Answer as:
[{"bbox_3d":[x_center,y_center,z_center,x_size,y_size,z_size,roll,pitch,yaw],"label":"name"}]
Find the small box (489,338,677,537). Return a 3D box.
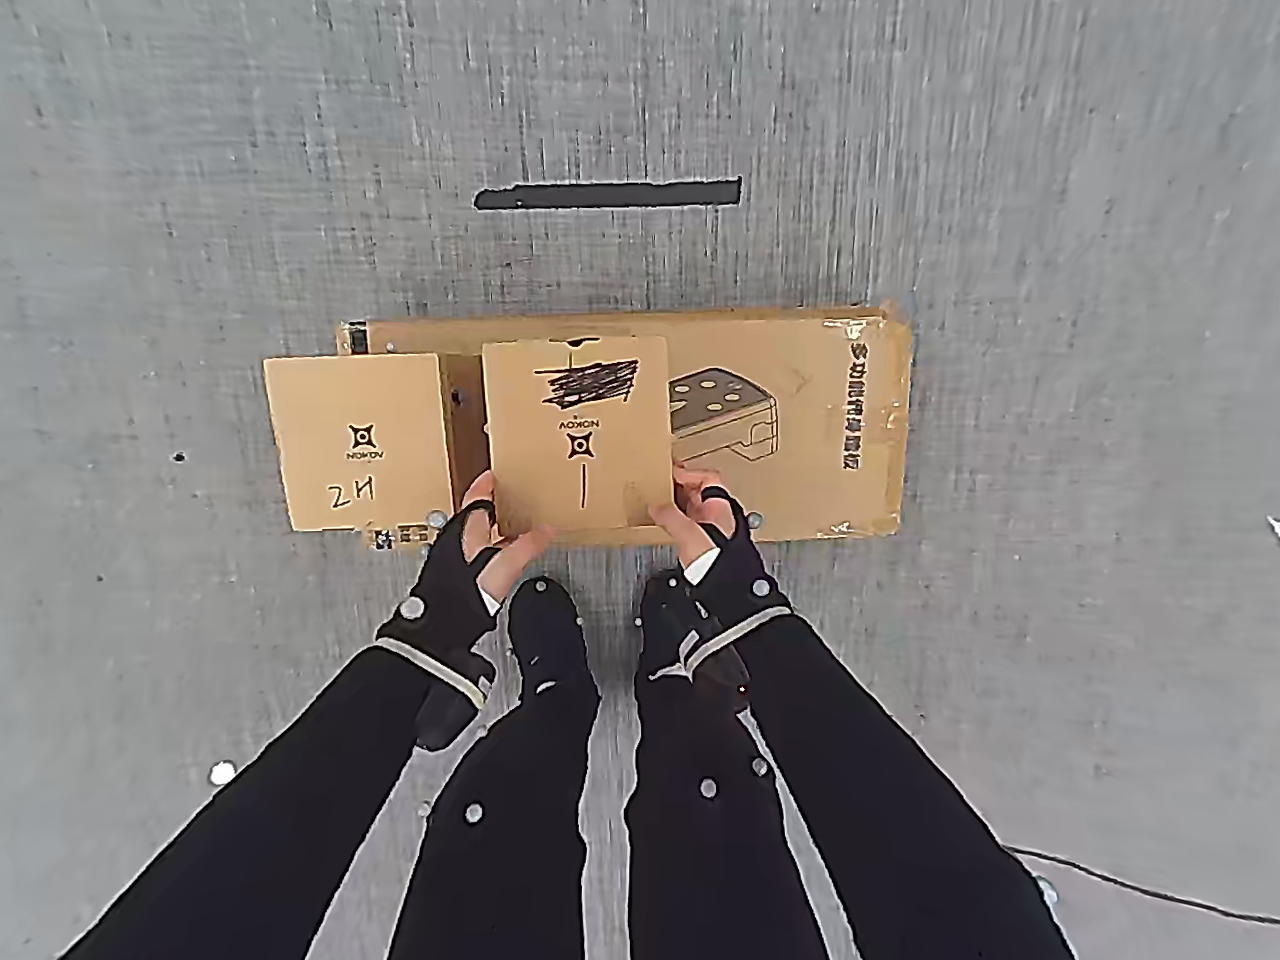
[{"bbox_3d":[-0.056,-0.044,0.569,0.168,0.176,0.179,-4,96,-3],"label":"small box"}]

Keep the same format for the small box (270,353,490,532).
[{"bbox_3d":[-0.275,-0.050,0.614,0.168,0.176,0.179,-2,102,-2],"label":"small box"}]
